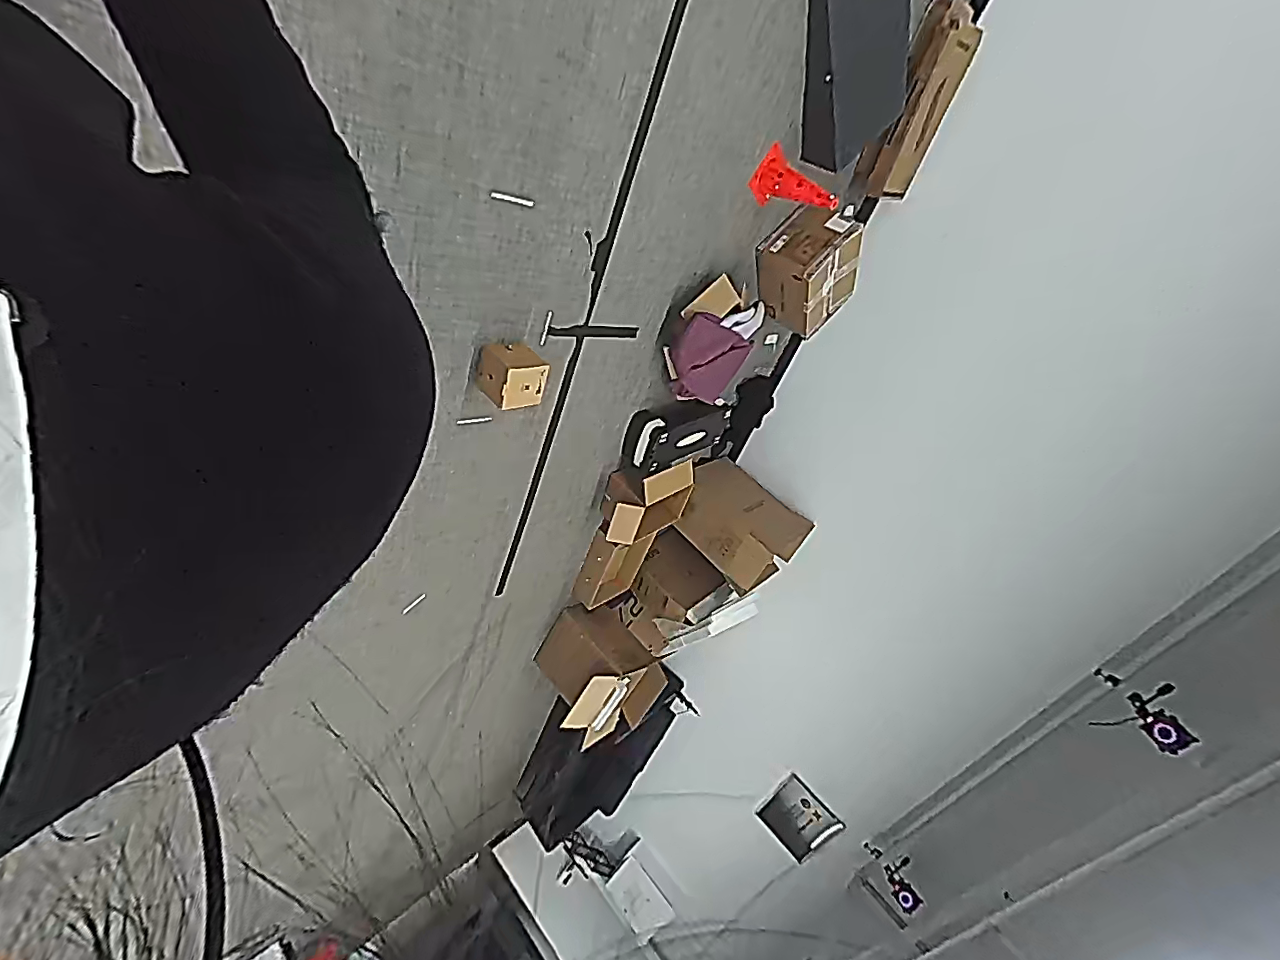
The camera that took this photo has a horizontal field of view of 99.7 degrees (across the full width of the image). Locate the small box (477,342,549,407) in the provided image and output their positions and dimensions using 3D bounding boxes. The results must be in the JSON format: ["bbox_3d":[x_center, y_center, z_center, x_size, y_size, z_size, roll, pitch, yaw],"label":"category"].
[{"bbox_3d":[-0.459,-0.382,1.934,0.179,0.176,0.168,-18,141,-45],"label":"small box"}]
